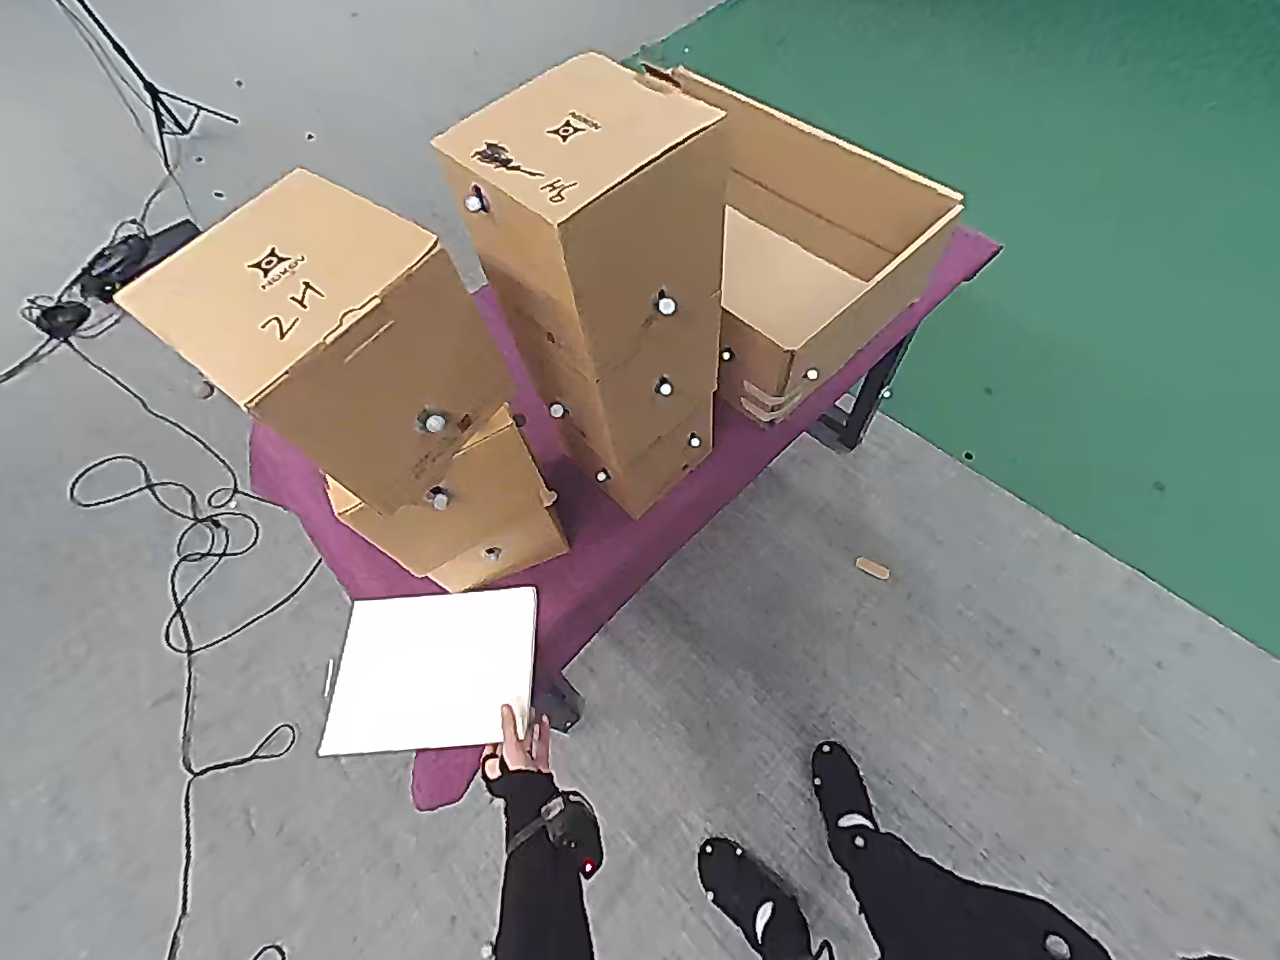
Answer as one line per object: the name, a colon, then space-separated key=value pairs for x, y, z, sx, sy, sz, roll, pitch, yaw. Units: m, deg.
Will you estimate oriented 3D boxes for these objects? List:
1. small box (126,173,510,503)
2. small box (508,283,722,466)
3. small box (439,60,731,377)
small box: x=-0.241 y=-0.108 z=0.447 sx=0.179 sy=0.176 sz=0.168 roll=33 pitch=70 yaw=21
small box: x=-0.024 y=-0.152 z=0.635 sx=0.179 sy=0.176 sz=0.168 roll=-40 pitch=64 yaw=-15
small box: x=-0.040 y=-0.232 z=0.492 sx=0.179 sy=0.176 sz=0.168 roll=-40 pitch=63 yaw=-17
